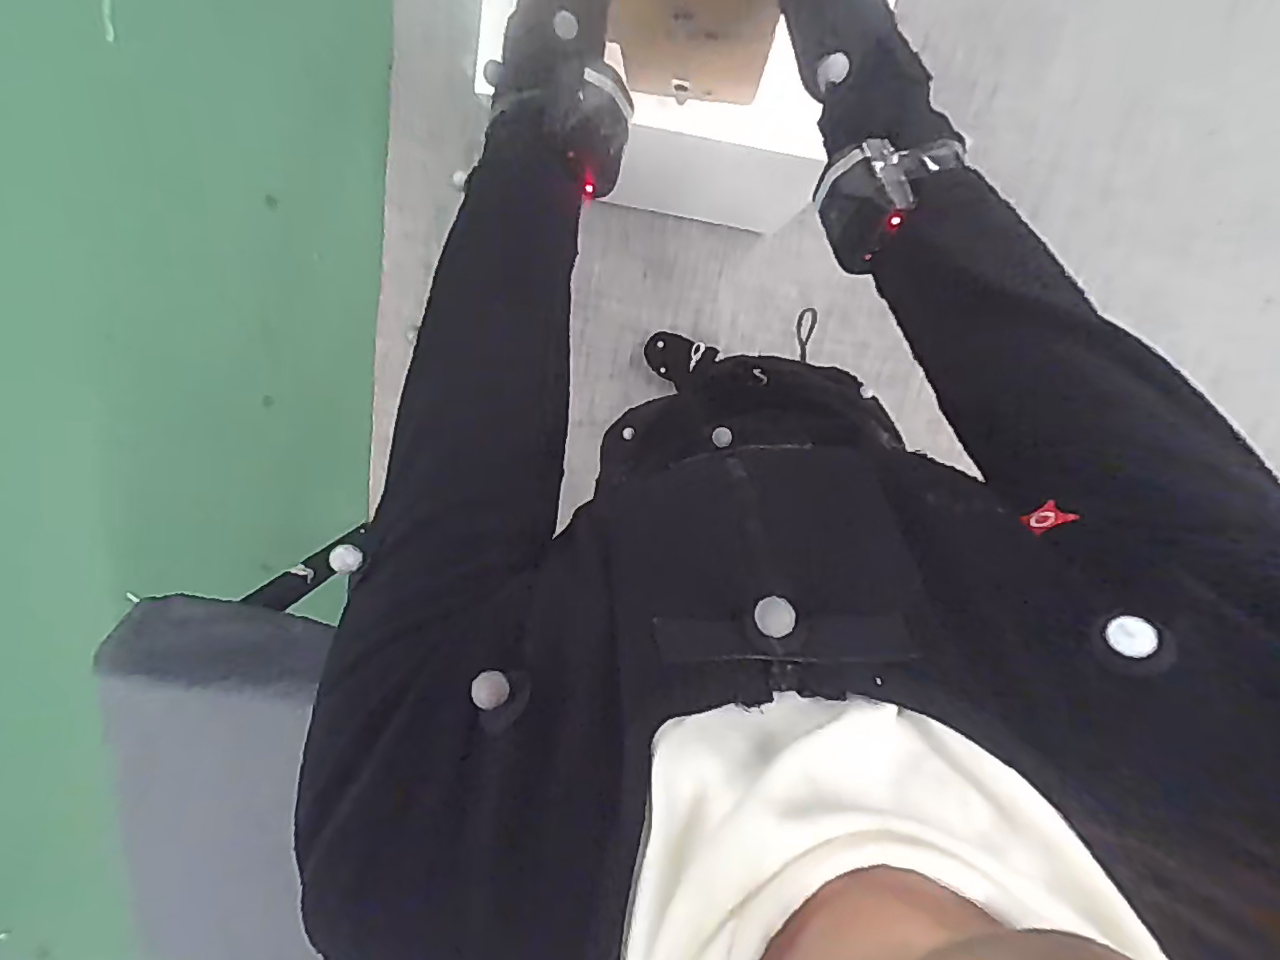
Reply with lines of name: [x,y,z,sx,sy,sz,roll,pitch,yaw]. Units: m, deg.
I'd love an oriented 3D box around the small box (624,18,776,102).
small box: [0.068,-0.554,0.593,0.168,0.176,0.179,8,107,4]

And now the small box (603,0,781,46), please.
small box: [0.043,-0.498,0.435,0.168,0.176,0.179,1,101,4]
